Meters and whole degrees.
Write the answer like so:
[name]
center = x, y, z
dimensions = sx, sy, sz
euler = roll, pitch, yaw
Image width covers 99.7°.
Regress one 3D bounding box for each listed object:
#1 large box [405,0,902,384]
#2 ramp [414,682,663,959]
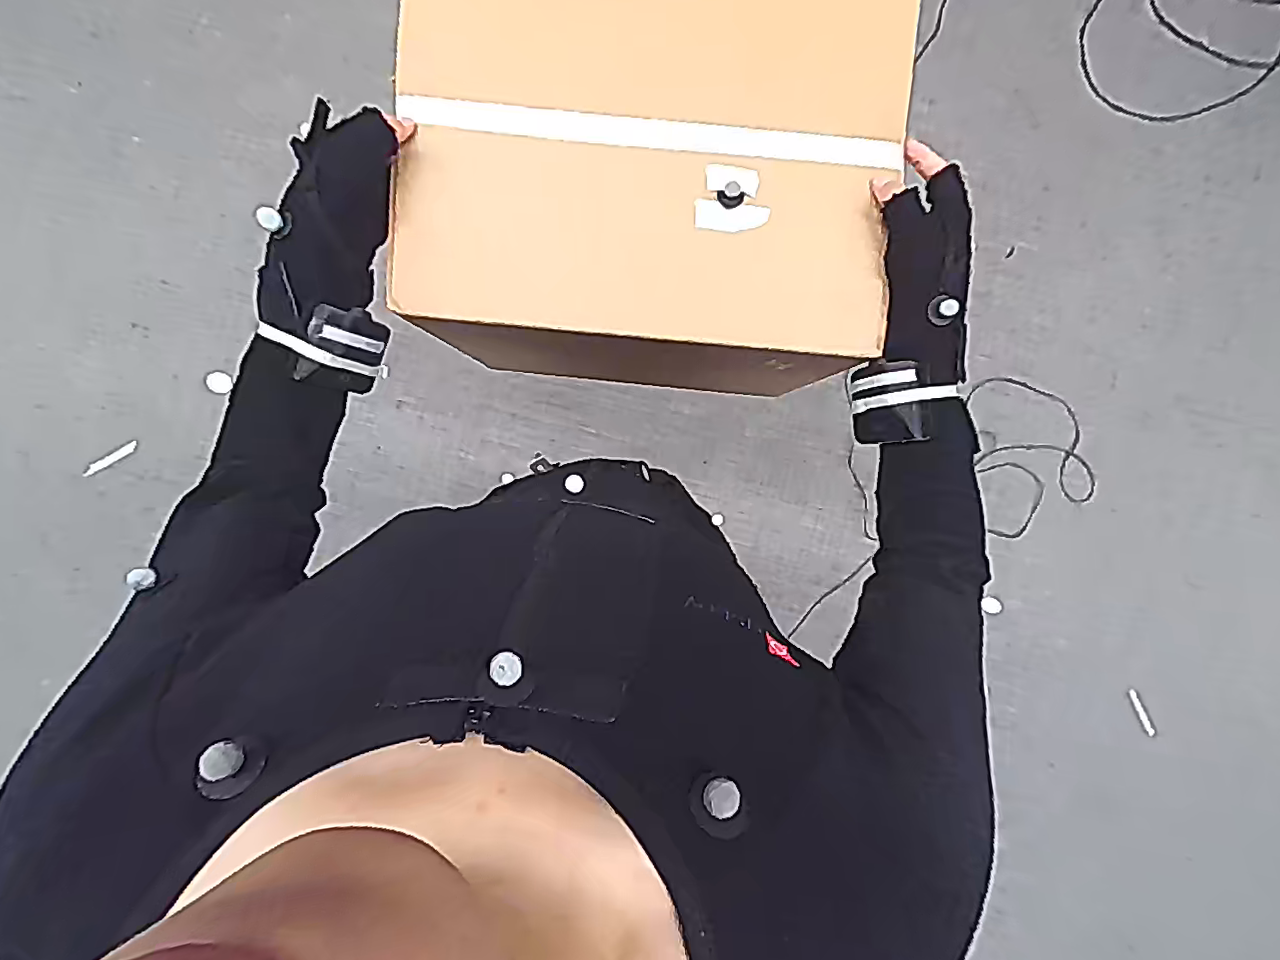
[large box]
center = 0.006, -0.290, 0.594
dimensions = 0.408, 0.320, 0.320
euler = 4, 93, -2
[ramp]
center = -0.288, 1.082, 1.397
dimensions = 0.509, 0.206, 0.991
euler = 12, 89, 1
